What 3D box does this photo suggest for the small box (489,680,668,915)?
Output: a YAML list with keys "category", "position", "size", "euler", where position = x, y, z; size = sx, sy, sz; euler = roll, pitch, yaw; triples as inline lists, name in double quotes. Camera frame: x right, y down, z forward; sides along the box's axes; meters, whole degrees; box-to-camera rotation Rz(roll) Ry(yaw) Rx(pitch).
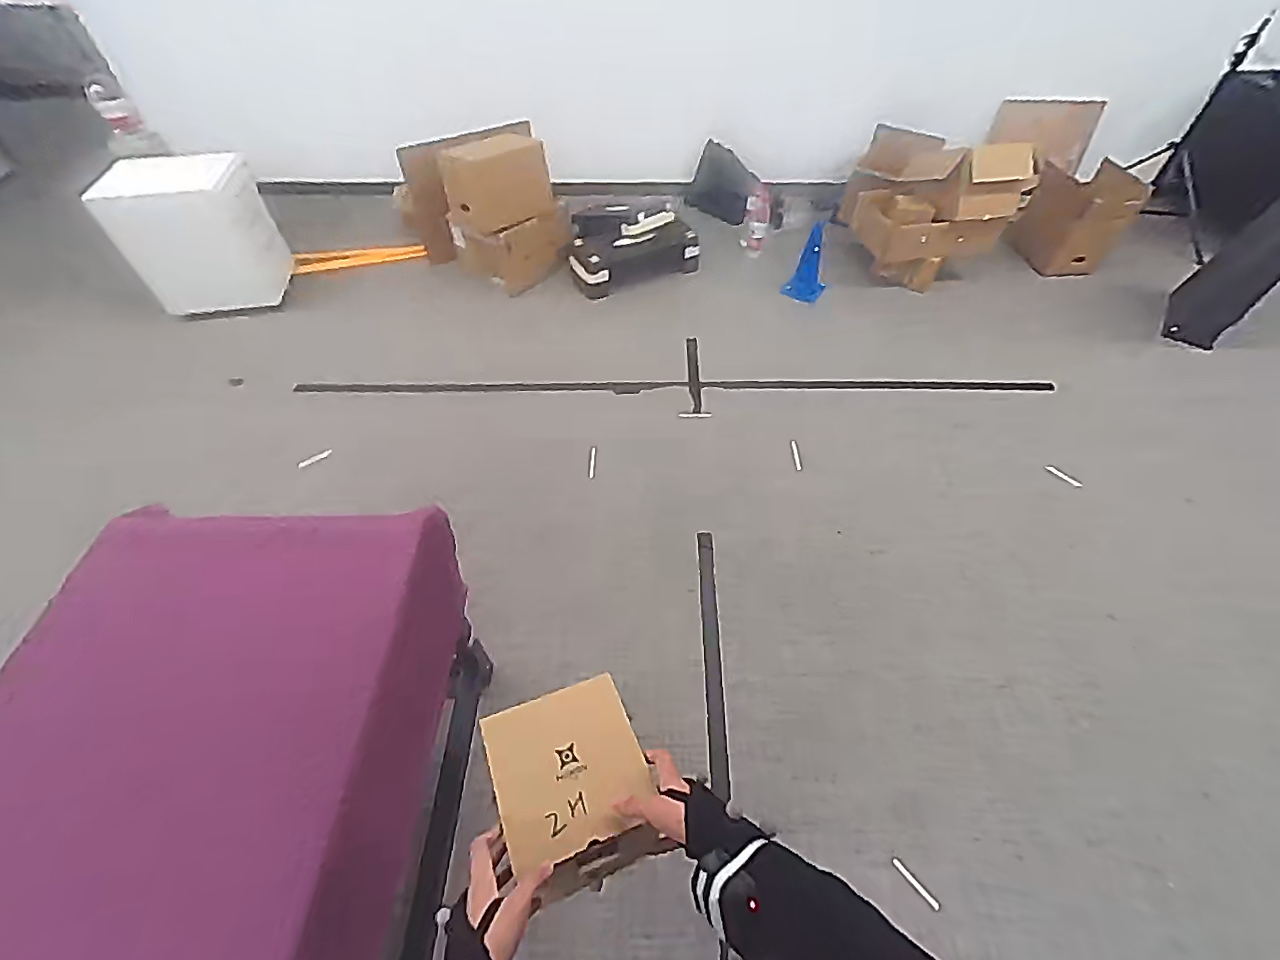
- category: "small box"
  position: [-0.082, 0.383, 0.660]
  size: [0.168, 0.176, 0.179]
  euler: [-12, 46, -19]
